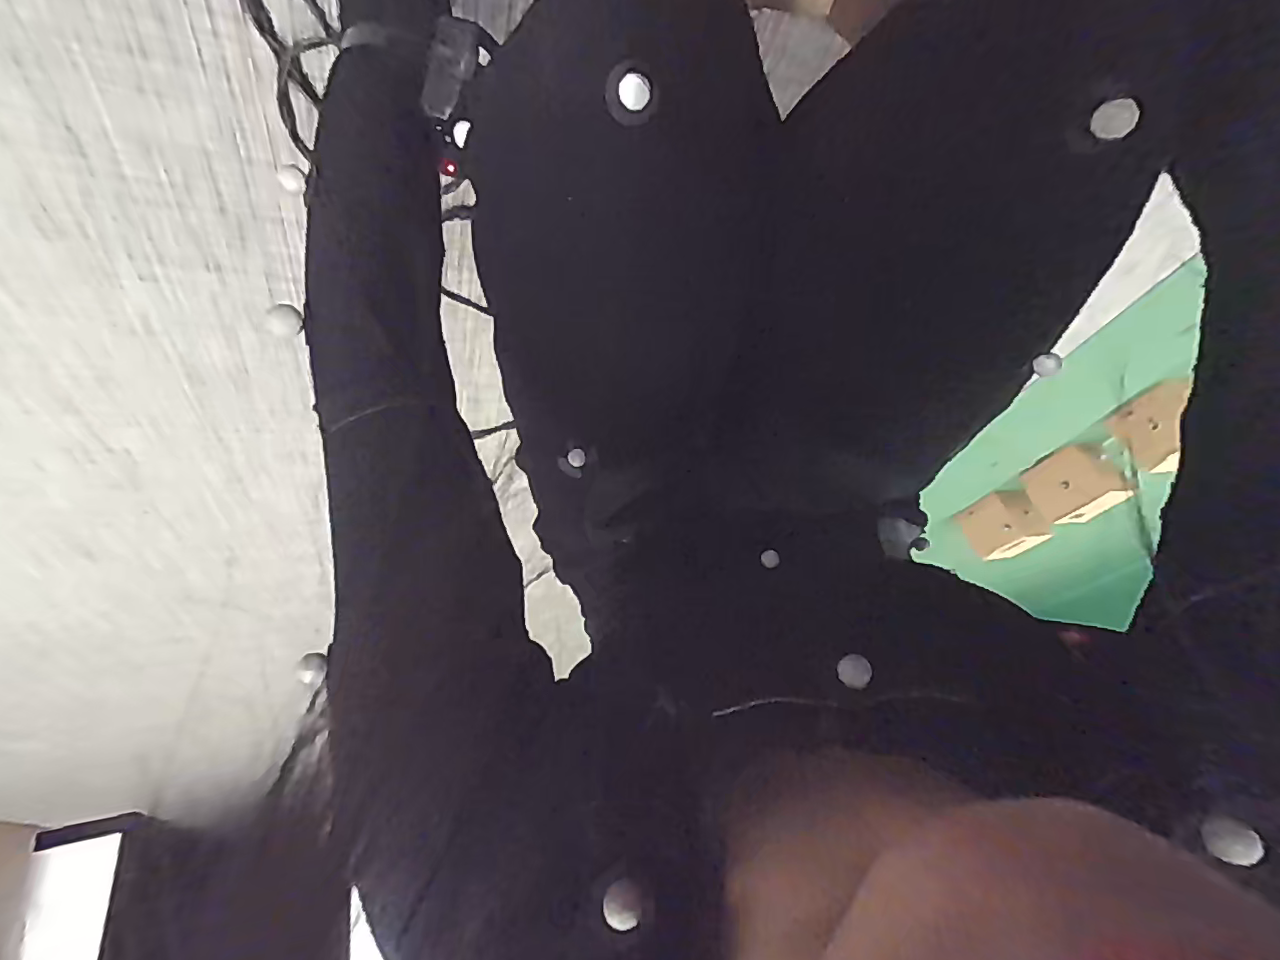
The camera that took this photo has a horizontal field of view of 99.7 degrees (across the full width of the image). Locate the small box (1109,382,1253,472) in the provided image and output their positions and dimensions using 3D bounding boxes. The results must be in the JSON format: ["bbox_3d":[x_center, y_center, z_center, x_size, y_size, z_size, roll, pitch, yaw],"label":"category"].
[{"bbox_3d":[1.375,-0.136,1.388,0.179,0.176,0.168,-2,147,-22],"label":"small box"}]
